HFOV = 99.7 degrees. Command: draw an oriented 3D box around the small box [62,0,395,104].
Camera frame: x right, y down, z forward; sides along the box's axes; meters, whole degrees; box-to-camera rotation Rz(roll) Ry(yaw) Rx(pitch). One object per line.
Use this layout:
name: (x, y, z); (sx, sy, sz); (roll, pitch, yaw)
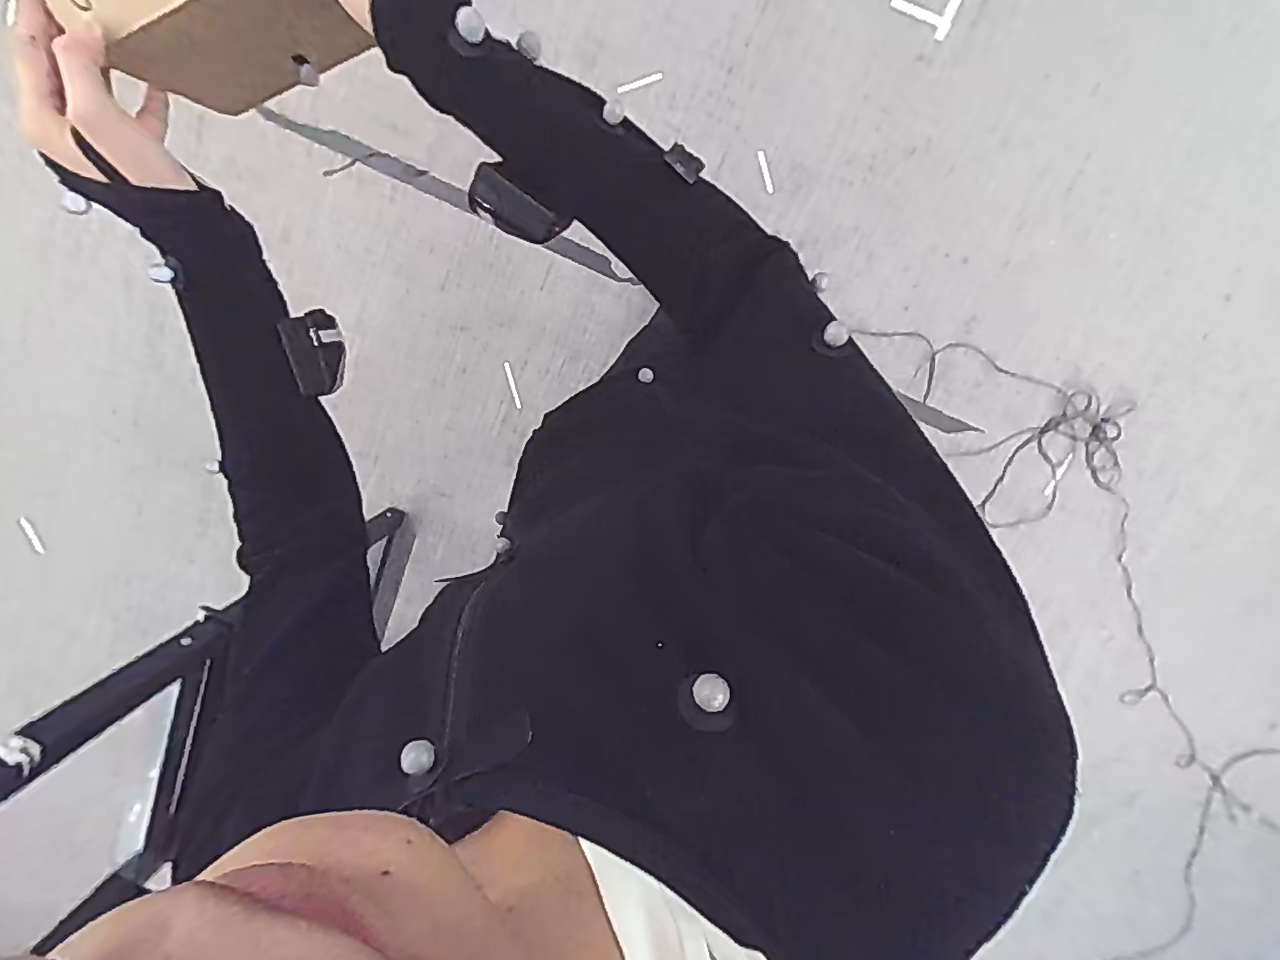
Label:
small box: (-0.289, -0.391, 0.359); (0.179, 0.176, 0.168); (-24, 113, 1)
